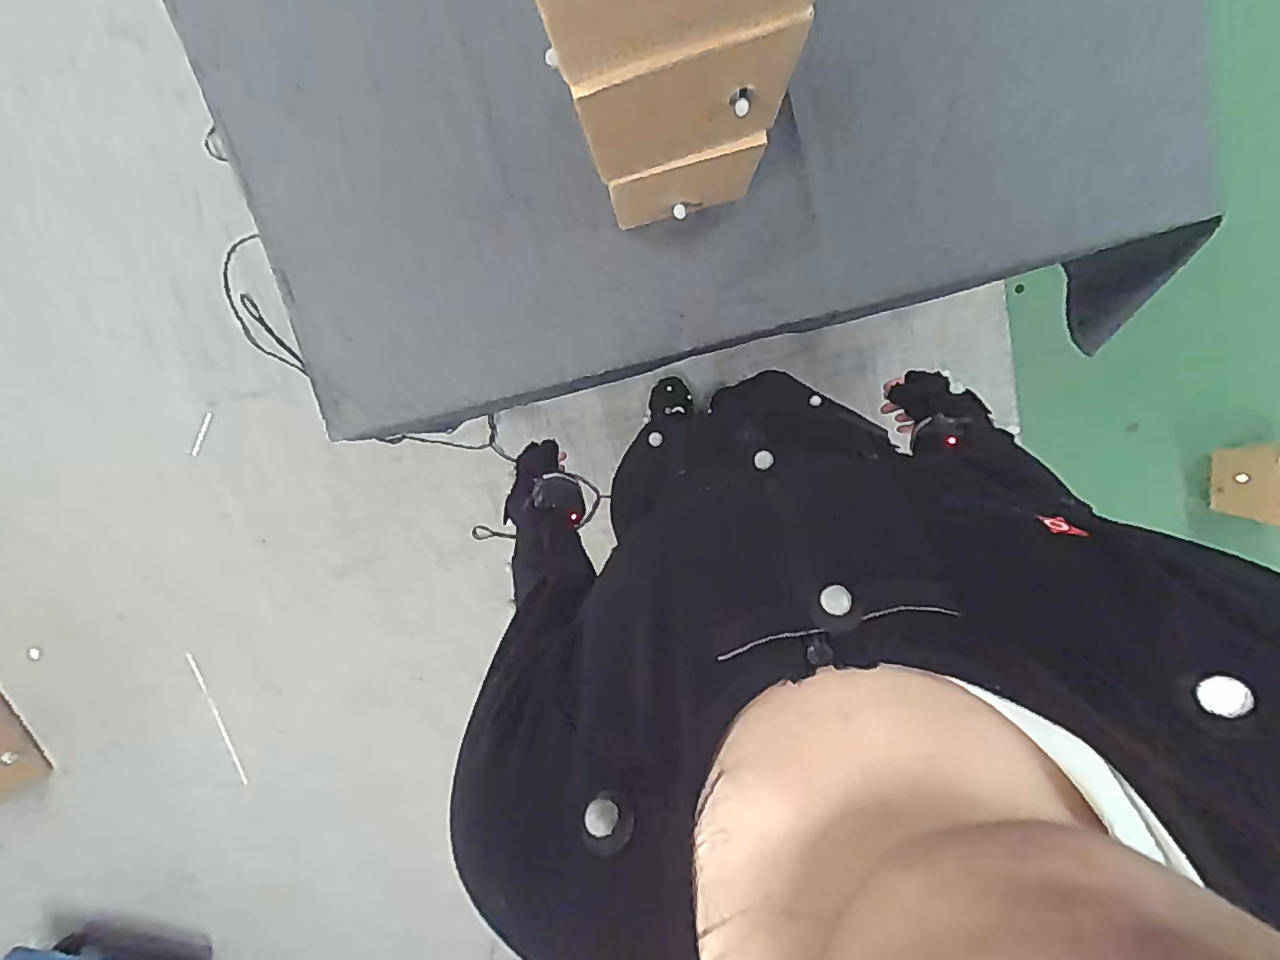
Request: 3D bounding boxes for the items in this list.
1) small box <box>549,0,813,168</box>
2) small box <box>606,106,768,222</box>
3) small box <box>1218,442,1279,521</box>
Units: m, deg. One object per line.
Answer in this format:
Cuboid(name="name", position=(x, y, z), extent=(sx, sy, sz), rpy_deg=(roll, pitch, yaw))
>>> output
Cuboid(name="small box", position=(0.018, -0.391, 0.440), extent=(0.179, 0.176, 0.168), rpy_deg=(-15, 98, 6))
Cuboid(name="small box", position=(0.032, -0.417, 0.600), extent=(0.168, 0.176, 0.179), rpy_deg=(-12, 100, 6))
Cuboid(name="small box", position=(1.594, 0.002, 1.332), extent=(0.179, 0.176, 0.168), rpy_deg=(-8, 99, 4))
